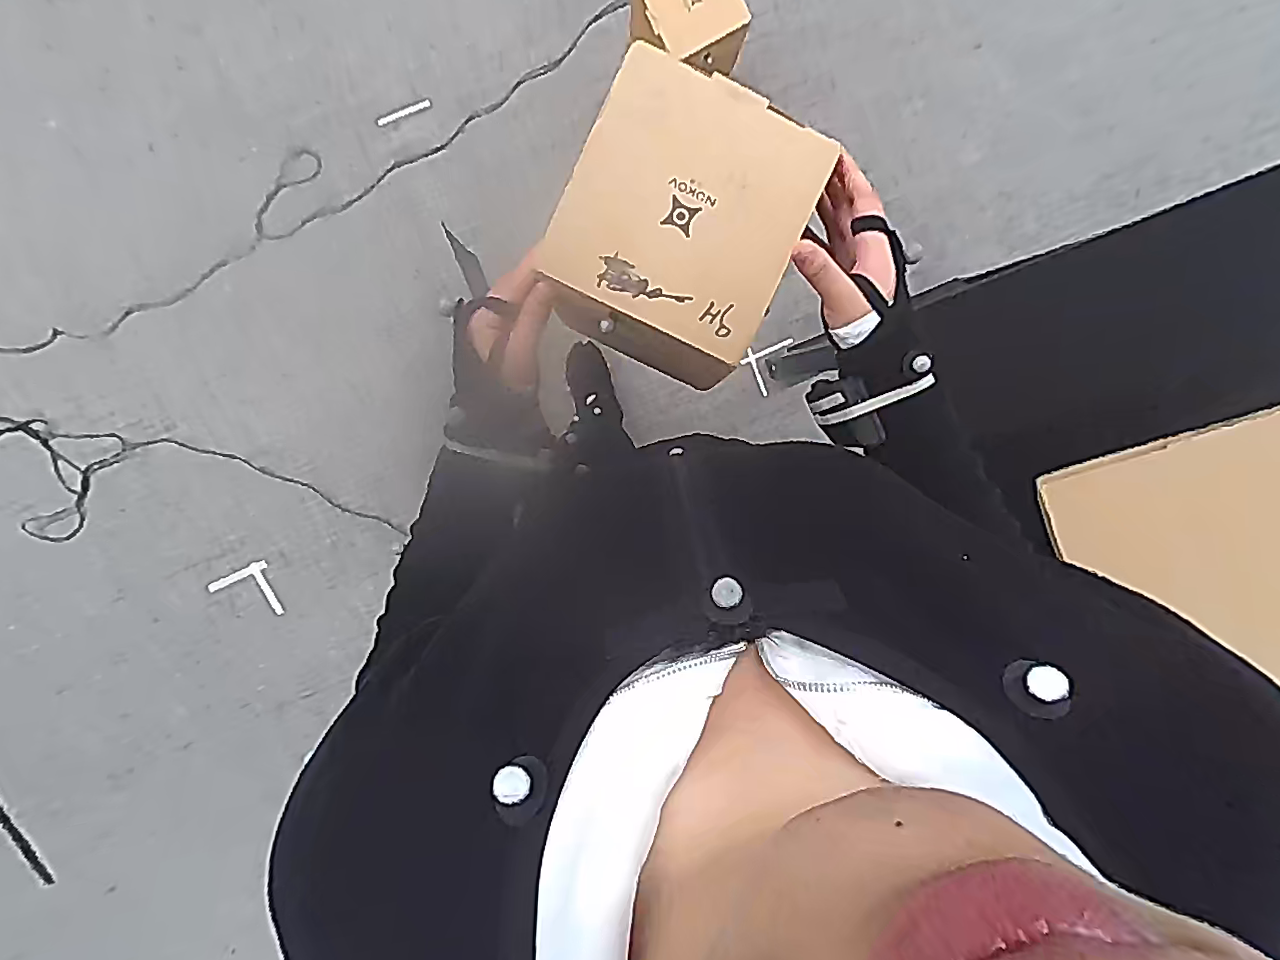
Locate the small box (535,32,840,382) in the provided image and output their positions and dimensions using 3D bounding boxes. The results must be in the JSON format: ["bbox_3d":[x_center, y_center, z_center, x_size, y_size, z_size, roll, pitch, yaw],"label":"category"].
[{"bbox_3d":[0.032,-0.204,0.460,0.168,0.176,0.179,25,92,-1],"label":"small box"}]

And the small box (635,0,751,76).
[{"bbox_3d":[0.099,-0.914,1.107,0.179,0.176,0.168,-29,99,0],"label":"small box"}]
